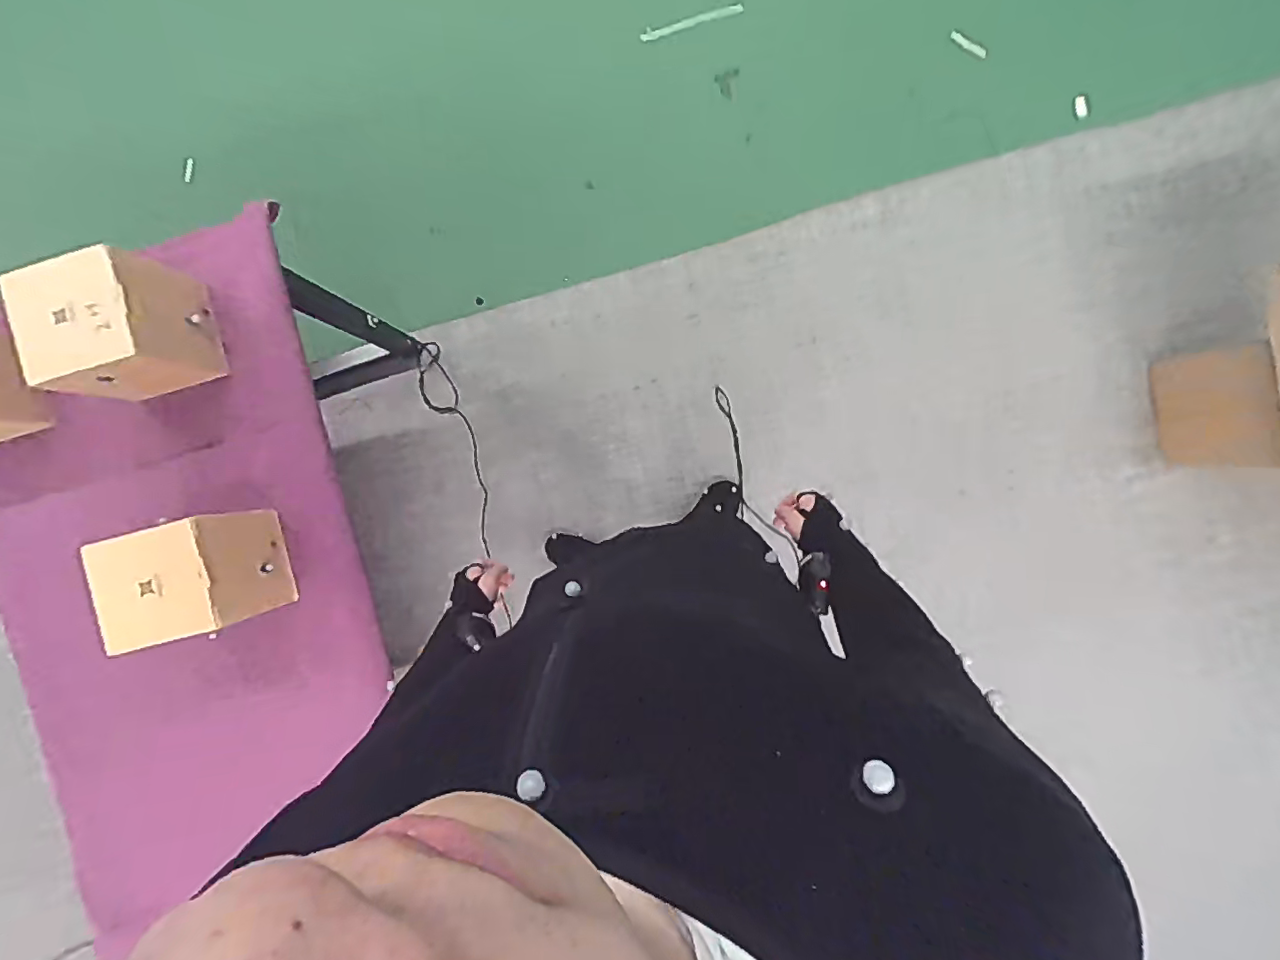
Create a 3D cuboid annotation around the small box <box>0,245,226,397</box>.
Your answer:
[{"bbox_3d":[-0.811,-0.236,0.848,0.179,0.176,0.168,-14,91,3],"label":"small box"}]

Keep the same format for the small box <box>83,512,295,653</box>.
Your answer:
[{"bbox_3d":[-0.695,0.151,0.851,0.179,0.176,0.168,-15,89,3],"label":"small box"}]

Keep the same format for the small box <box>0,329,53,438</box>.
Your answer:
[{"bbox_3d":[-1.120,-0.150,0.859,0.179,0.176,0.168,-16,92,0],"label":"small box"}]
